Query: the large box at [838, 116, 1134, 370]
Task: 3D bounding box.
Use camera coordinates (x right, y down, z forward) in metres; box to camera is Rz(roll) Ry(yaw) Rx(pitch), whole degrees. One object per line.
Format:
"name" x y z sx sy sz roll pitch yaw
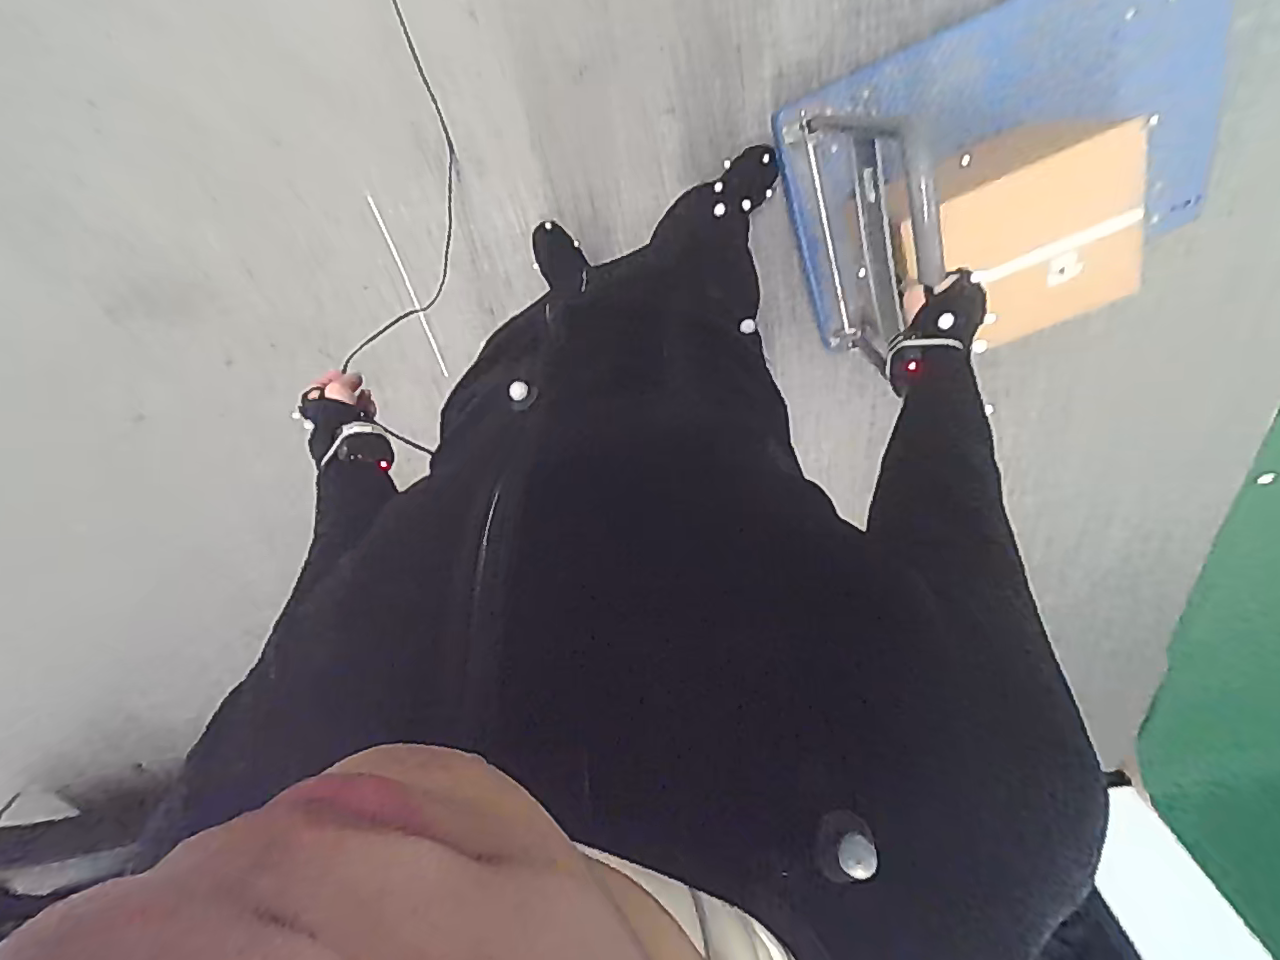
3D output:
"large box" 0.686 -0.488 1.125 0.408 0.320 0.320 -21 121 10
